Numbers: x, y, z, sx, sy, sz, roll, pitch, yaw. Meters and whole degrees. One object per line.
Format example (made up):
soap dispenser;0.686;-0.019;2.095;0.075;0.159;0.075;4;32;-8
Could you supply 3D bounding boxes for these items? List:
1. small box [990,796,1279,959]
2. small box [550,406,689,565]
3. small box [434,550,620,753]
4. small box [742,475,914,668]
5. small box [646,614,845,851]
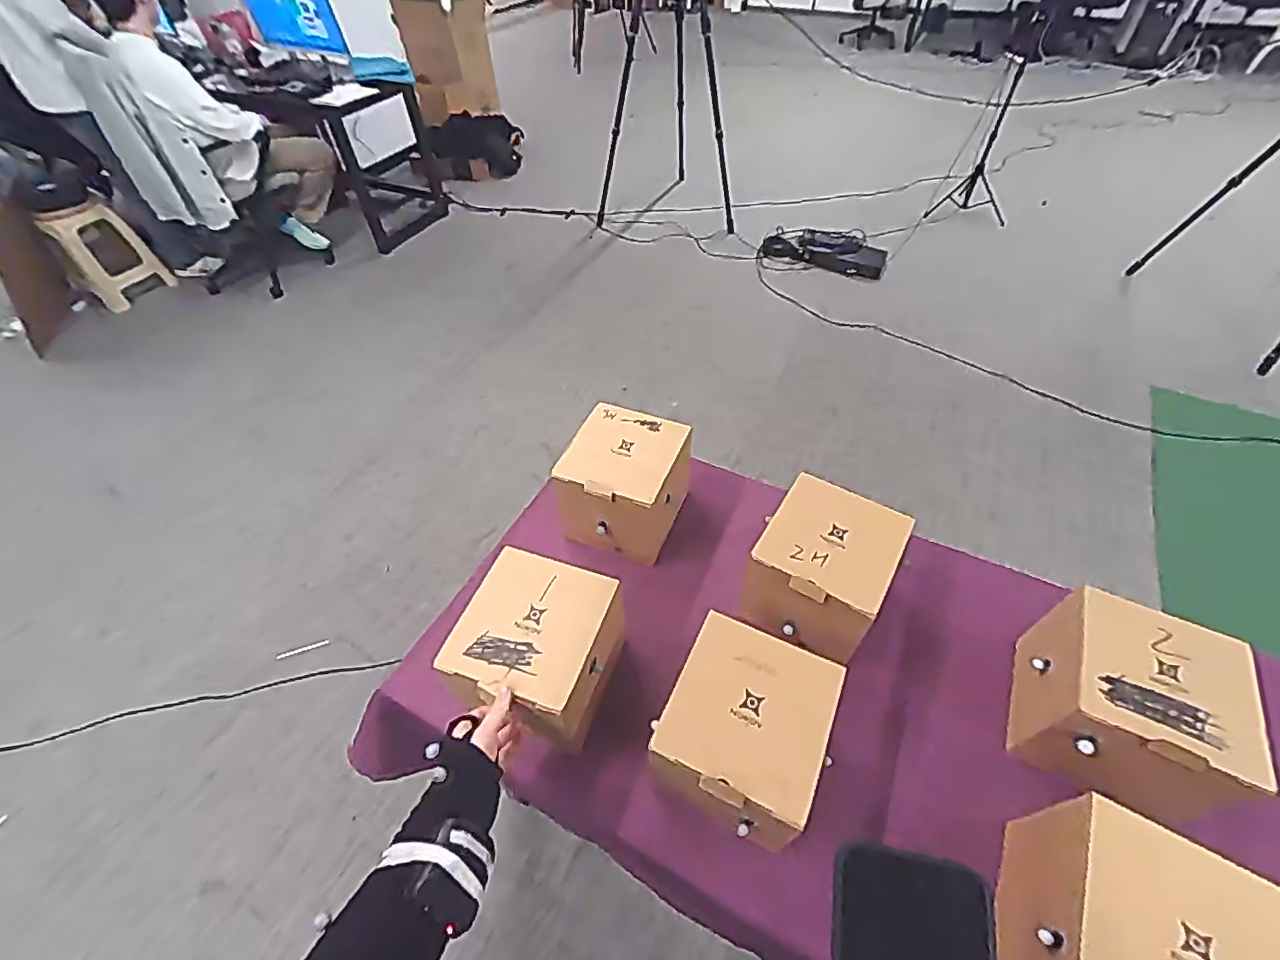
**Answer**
small box;0.456;0.439;0.499;0.168;0.176;0.179;24;54;22
small box;-0.024;0.013;0.889;0.168;0.176;0.179;17;53;16
small box;-0.130;0.226;0.707;0.168;0.176;0.179;15;50;14
small box;0.258;0.131;0.774;0.168;0.176;0.179;26;55;23
small box;0.120;0.299;0.636;0.168;0.176;0.179;20;52;18
